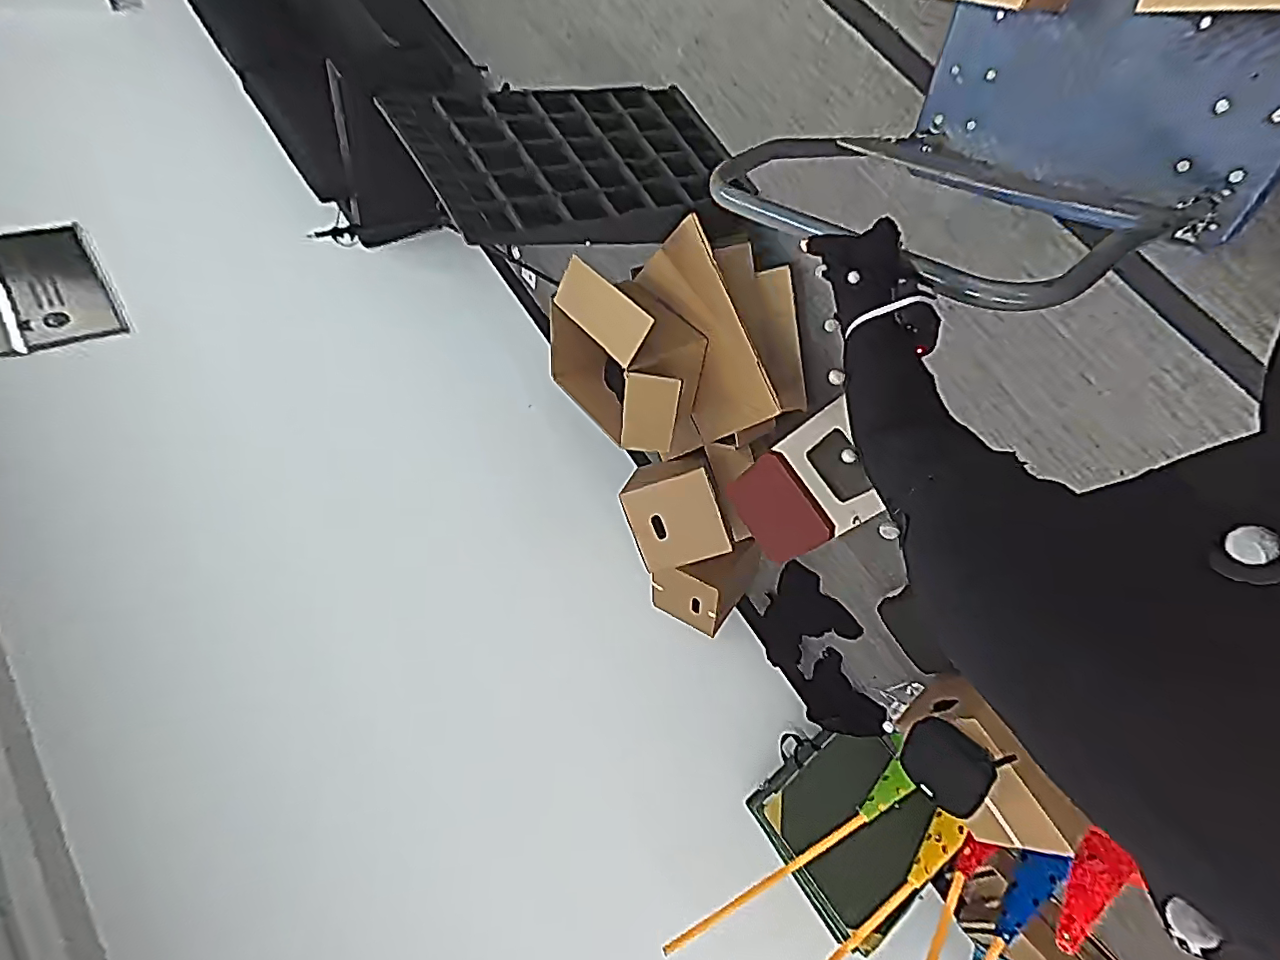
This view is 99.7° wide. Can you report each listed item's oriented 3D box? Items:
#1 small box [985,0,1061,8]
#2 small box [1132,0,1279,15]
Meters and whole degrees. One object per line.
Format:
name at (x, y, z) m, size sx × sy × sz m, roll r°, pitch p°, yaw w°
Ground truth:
small box at (0.590, -0.856, 0.842) m, size 0.179 × 0.176 × 0.168 m, roll 43°, pitch 145°, yaw 30°
small box at (0.783, -0.688, 0.670) m, size 0.179 × 0.176 × 0.168 m, roll 38°, pitch 142°, yaw 36°
